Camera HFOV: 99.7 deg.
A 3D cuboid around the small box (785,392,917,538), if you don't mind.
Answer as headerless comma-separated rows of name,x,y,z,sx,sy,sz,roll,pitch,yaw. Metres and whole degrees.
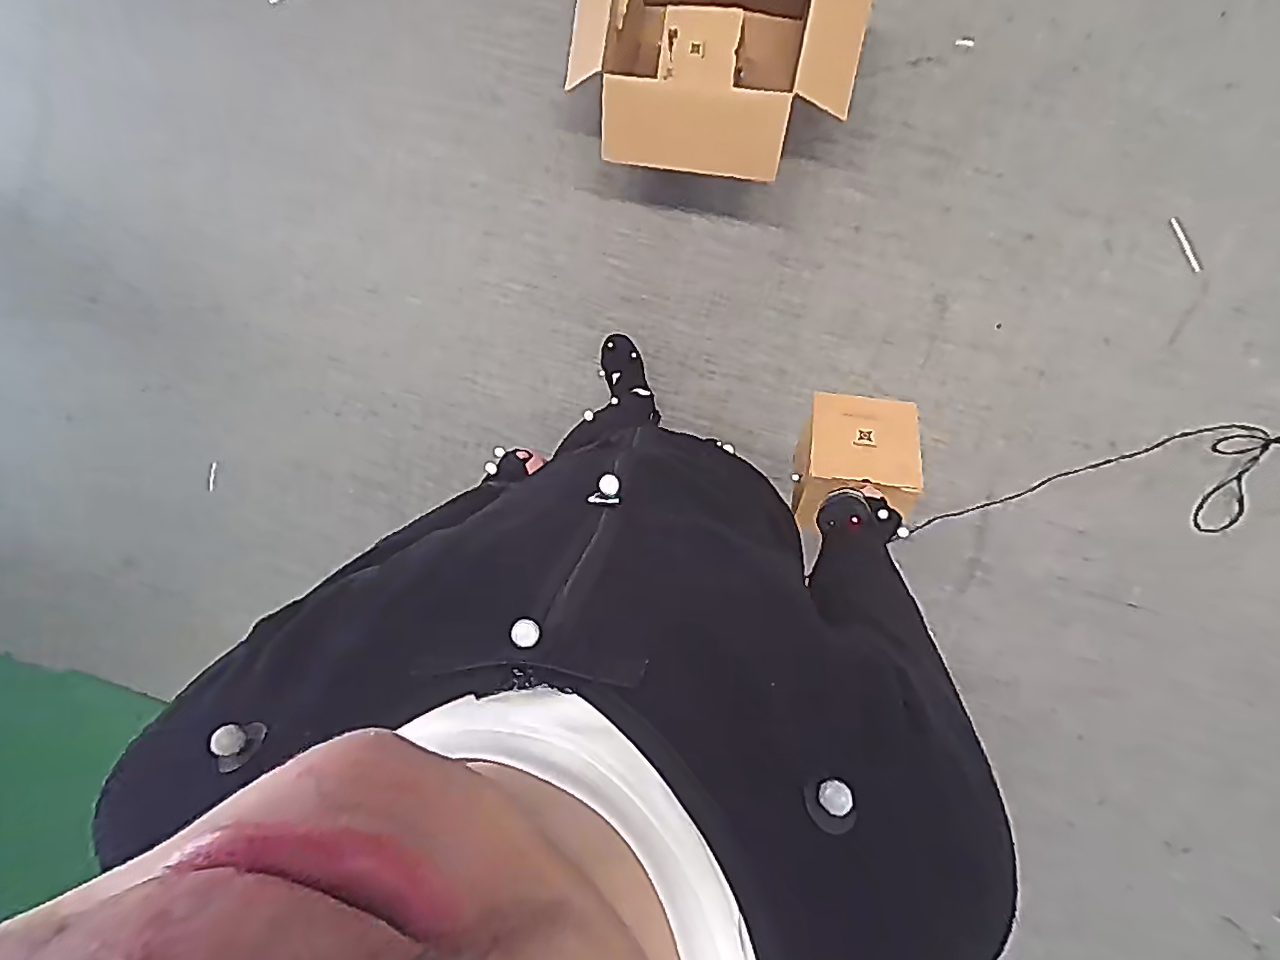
small box,0.348,-0.021,0.916,0.168,0.176,0.179,9,56,7
